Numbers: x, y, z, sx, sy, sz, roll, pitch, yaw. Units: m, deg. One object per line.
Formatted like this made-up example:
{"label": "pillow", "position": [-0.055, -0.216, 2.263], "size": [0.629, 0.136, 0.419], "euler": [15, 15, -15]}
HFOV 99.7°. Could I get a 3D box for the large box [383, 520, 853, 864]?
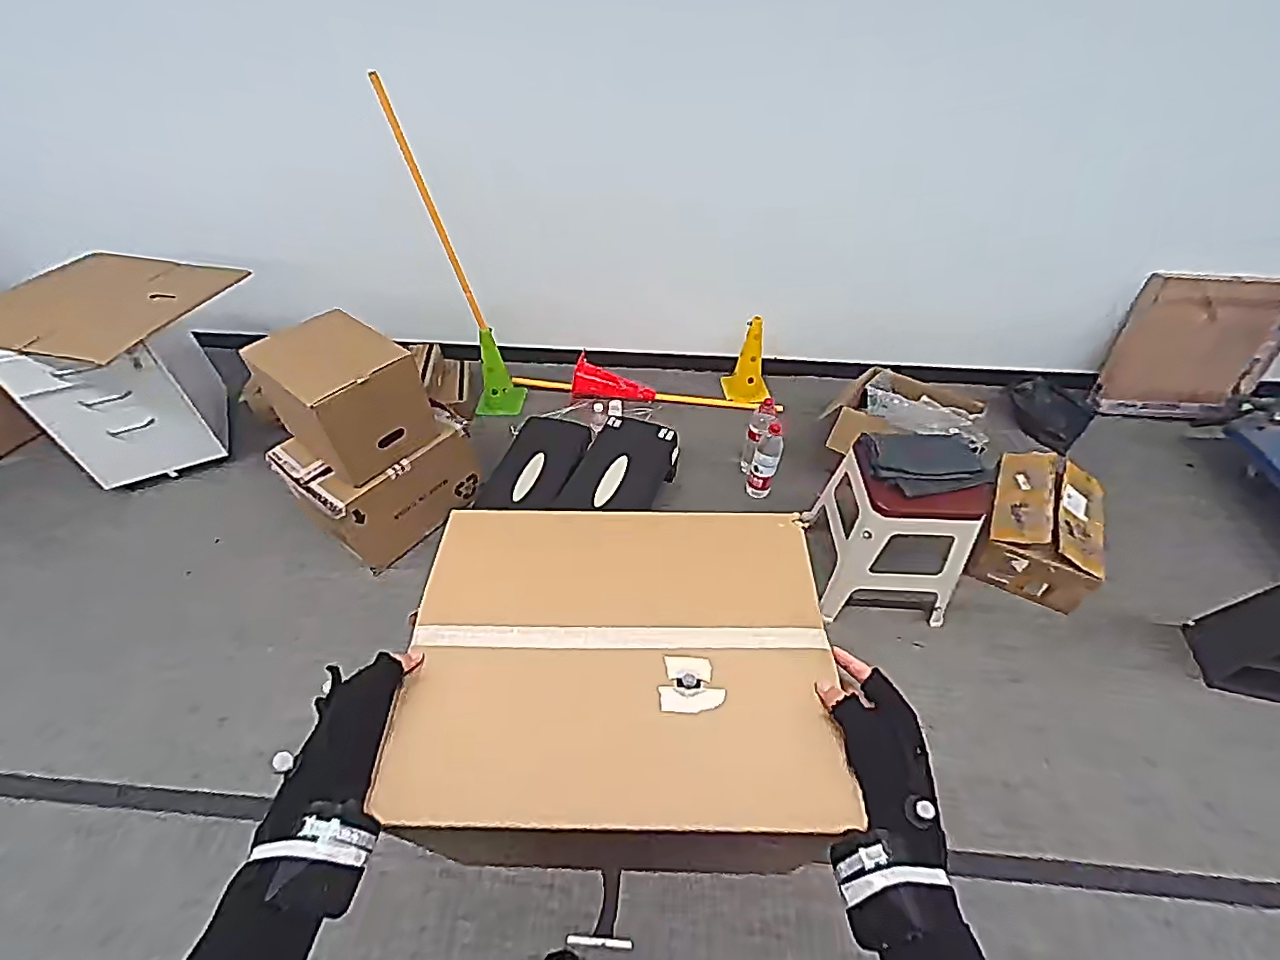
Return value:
{"label": "large box", "position": [-0.019, 0.262, 0.658], "size": [0.408, 0.320, 0.320], "euler": [1, 50, 1]}
